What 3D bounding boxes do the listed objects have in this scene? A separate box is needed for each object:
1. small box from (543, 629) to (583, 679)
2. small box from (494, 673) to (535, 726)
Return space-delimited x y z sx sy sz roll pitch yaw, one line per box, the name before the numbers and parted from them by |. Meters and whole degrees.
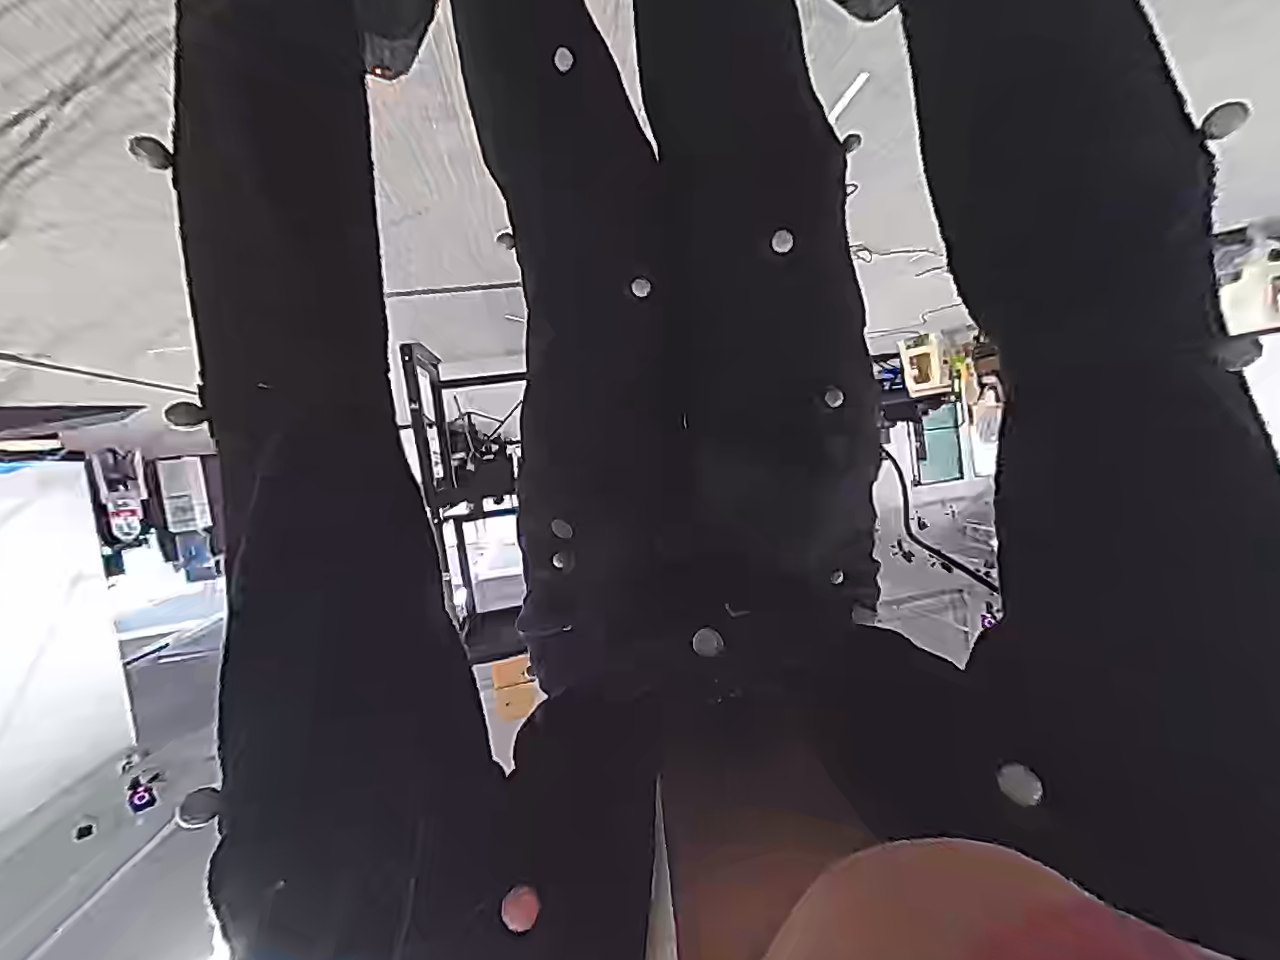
small box | -0.389 0.868 2.708 0.168 0.176 0.179 -9 -175 -13
small box | -0.615 1.069 2.652 0.179 0.176 0.168 -10 -174 -11
